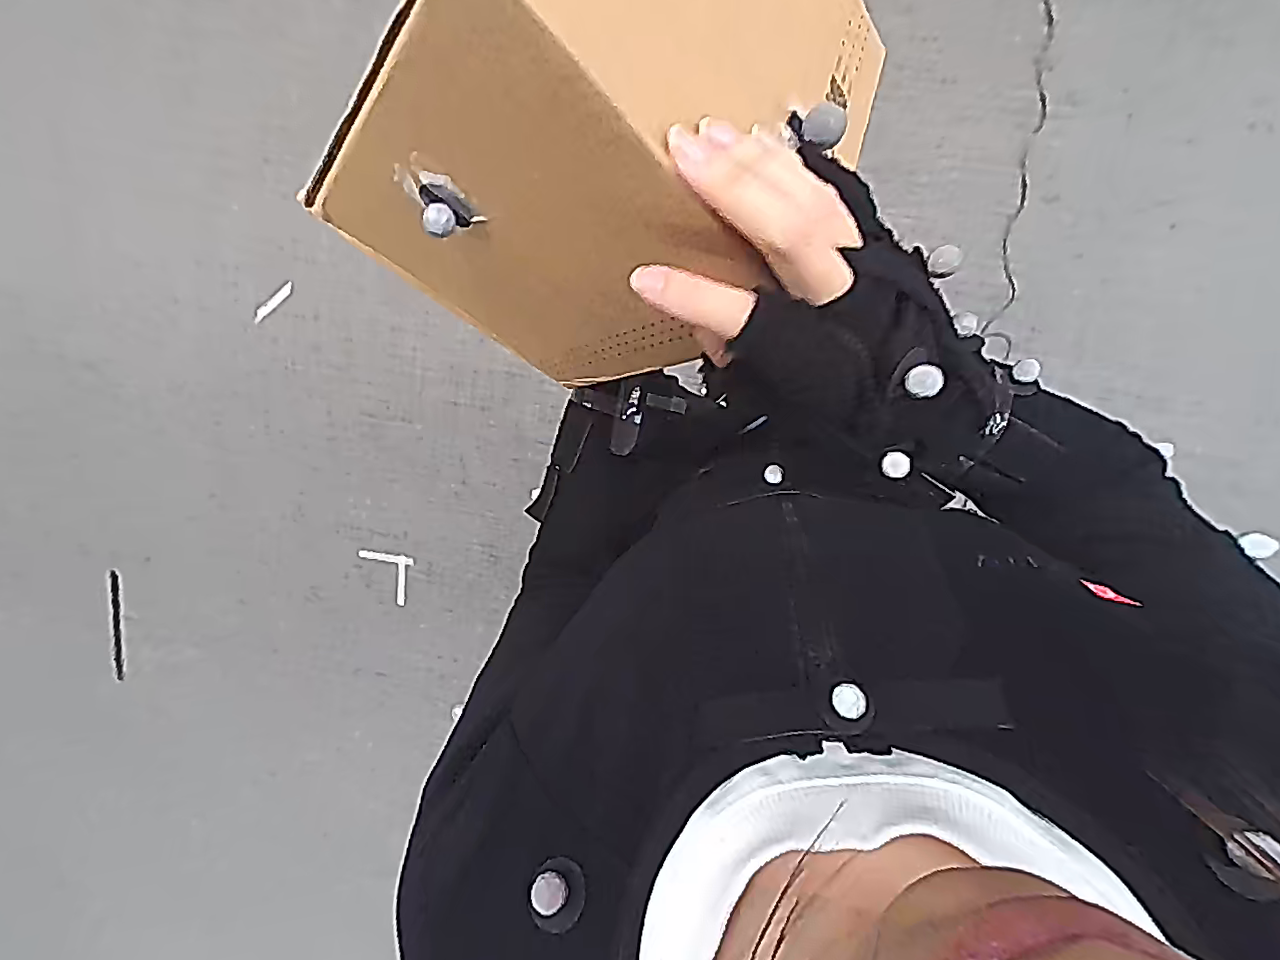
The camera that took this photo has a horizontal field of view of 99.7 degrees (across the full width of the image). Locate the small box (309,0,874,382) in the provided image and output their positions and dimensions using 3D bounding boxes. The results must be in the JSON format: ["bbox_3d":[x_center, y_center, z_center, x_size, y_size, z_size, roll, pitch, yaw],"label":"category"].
[{"bbox_3d":[-0.018,-0.164,0.260,0.179,0.176,0.168,-2,66,48],"label":"small box"}]
